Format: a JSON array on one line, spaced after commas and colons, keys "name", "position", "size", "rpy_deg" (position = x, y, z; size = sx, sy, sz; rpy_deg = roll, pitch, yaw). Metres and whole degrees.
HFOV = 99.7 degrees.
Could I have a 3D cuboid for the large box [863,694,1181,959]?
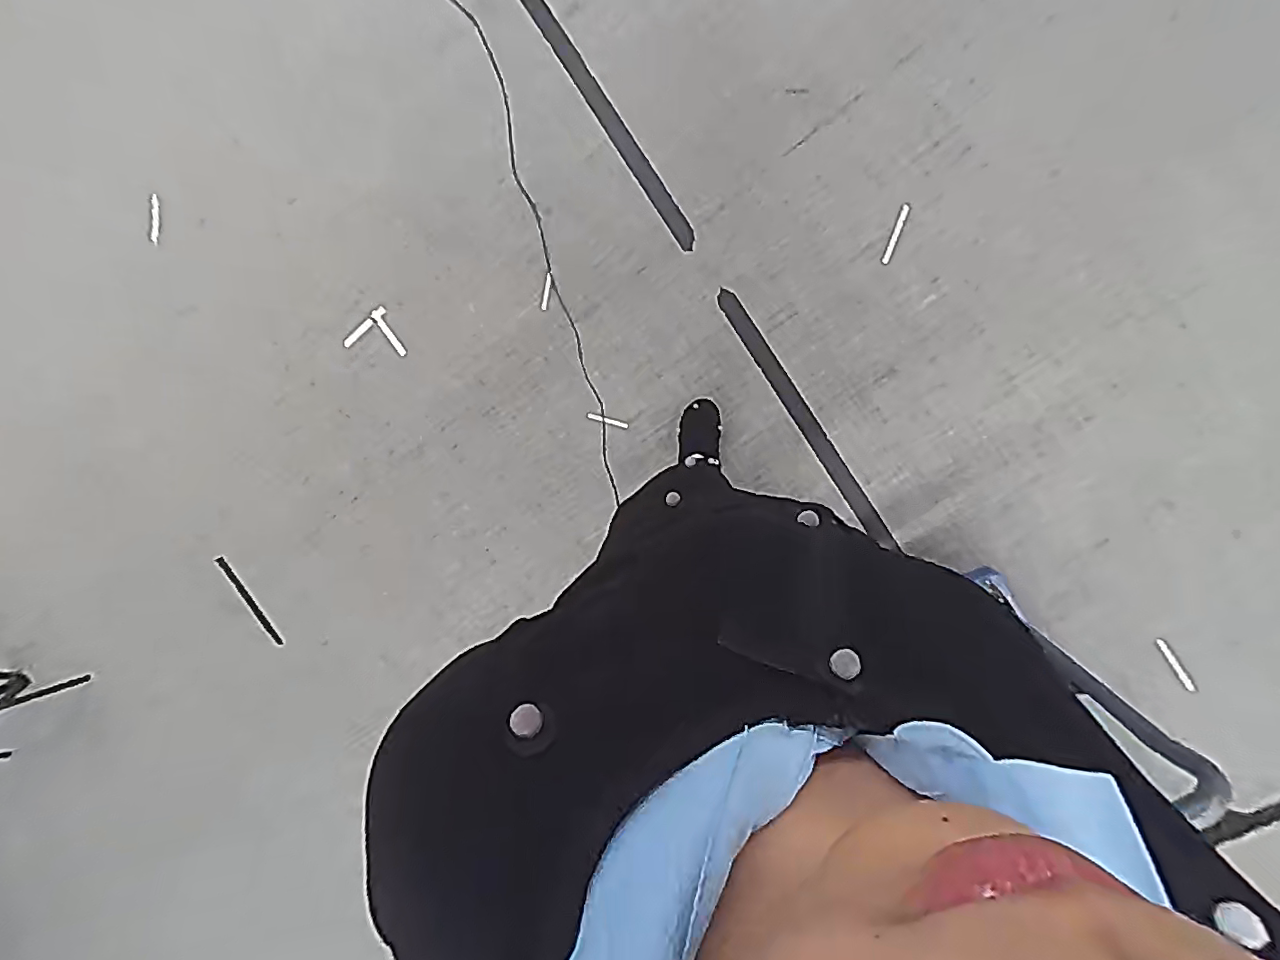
[{"name": "large box", "position": [0.768, 0.737, 1.164], "size": [0.408, 0.320, 0.320], "rpy_deg": [-29, 92, 13]}]
